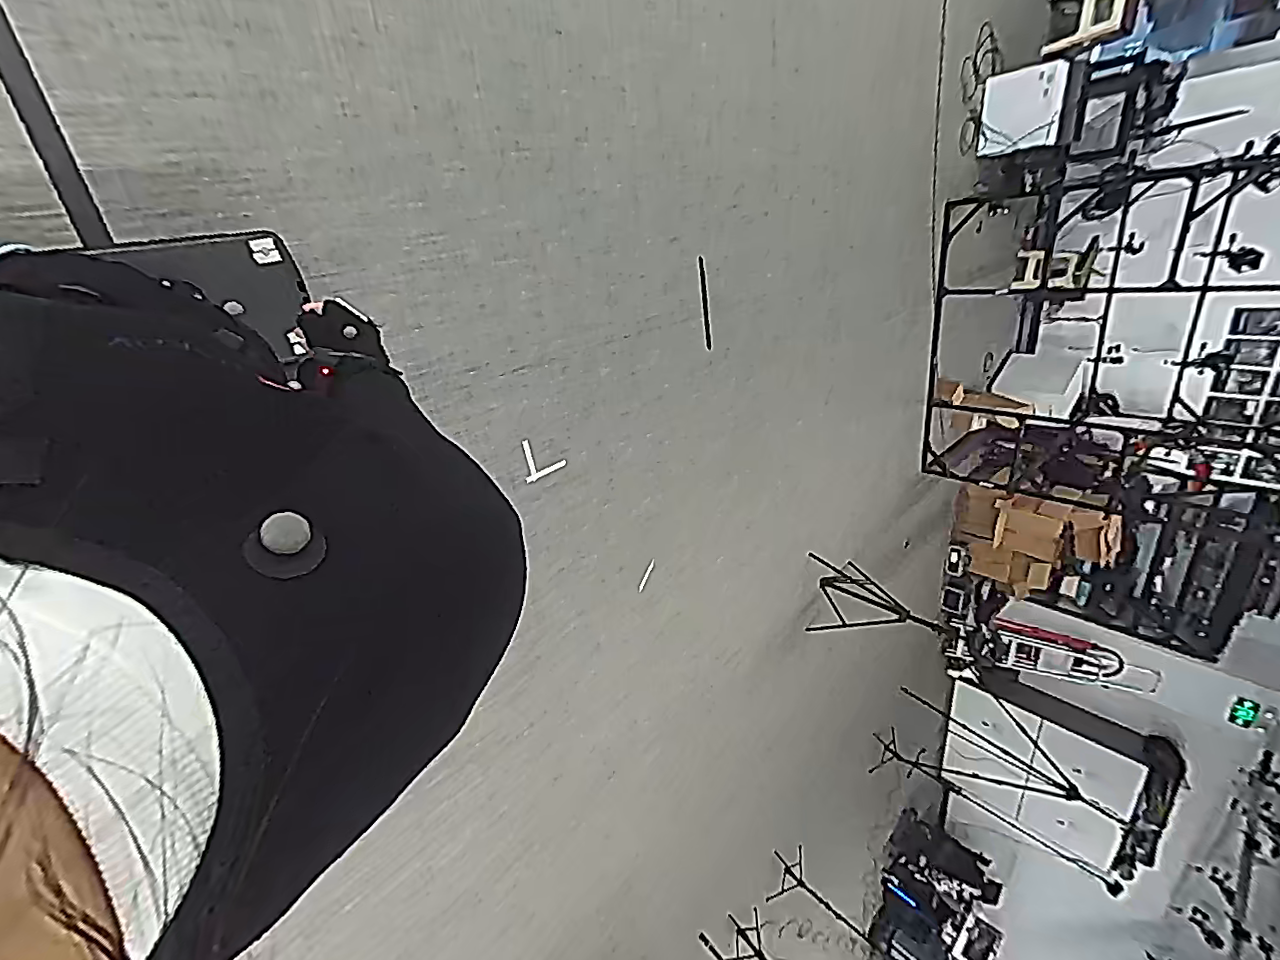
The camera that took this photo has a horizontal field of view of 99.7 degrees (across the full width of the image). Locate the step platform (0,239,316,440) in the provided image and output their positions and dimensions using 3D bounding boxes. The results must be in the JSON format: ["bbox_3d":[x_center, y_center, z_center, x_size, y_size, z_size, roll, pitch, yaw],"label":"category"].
[{"bbox_3d":[-1.066,-0.300,1.103,0.684,0.204,0.286,-28,122,-35],"label":"step platform"}]
